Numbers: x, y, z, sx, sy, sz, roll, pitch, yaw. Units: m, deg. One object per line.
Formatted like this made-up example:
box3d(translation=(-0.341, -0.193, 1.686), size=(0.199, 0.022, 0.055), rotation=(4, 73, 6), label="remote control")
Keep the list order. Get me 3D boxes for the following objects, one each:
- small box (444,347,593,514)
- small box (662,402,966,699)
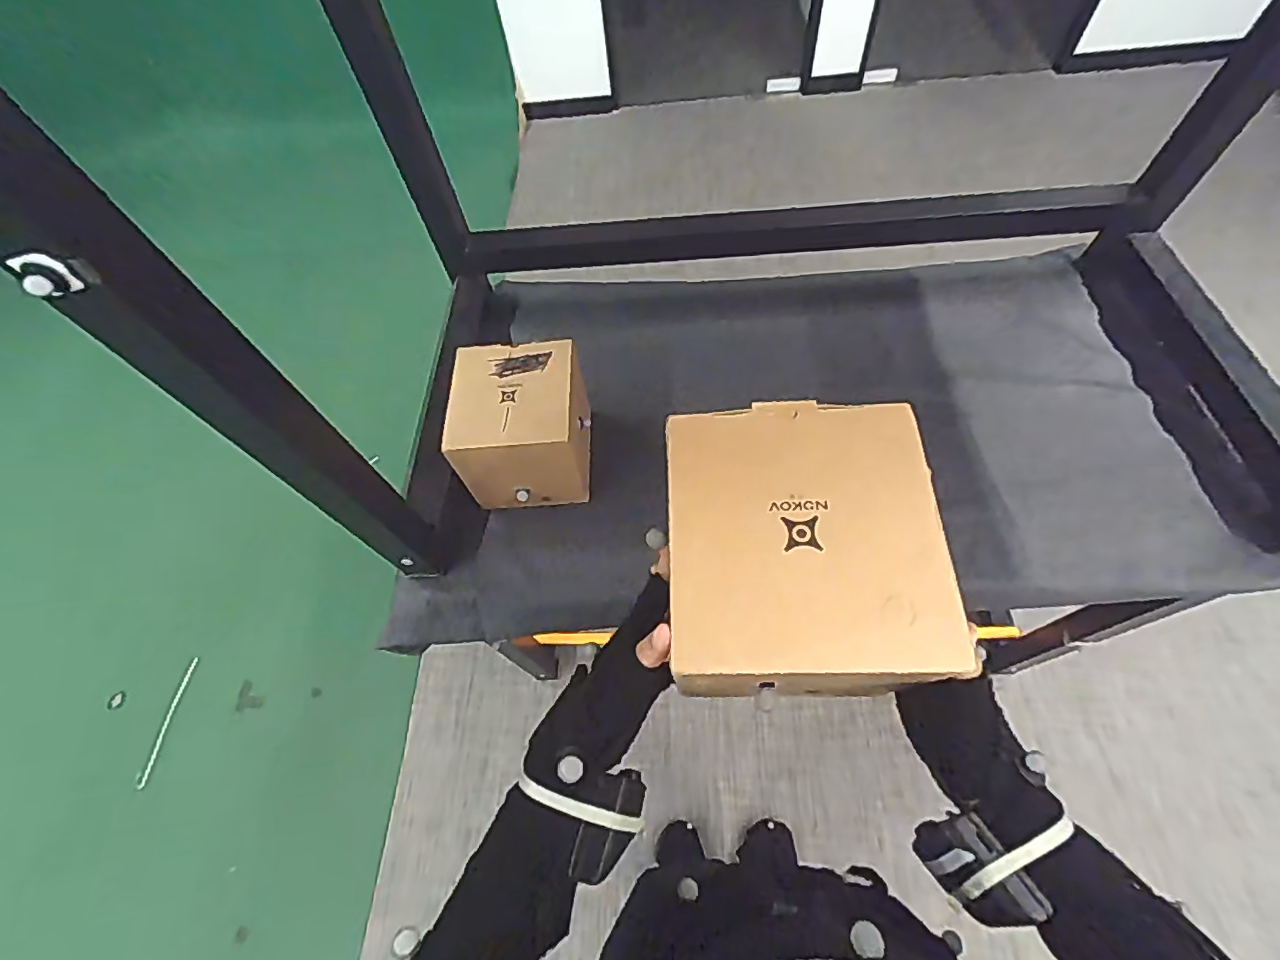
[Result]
box3d(translation=(-0.164, -0.068, 0.790), size=(0.168, 0.176, 0.179), rotation=(-4, 59, 3), label="small box")
box3d(translation=(0.106, 0.065, 0.405), size=(0.168, 0.176, 0.179), rotation=(-3, 61, 6), label="small box")
